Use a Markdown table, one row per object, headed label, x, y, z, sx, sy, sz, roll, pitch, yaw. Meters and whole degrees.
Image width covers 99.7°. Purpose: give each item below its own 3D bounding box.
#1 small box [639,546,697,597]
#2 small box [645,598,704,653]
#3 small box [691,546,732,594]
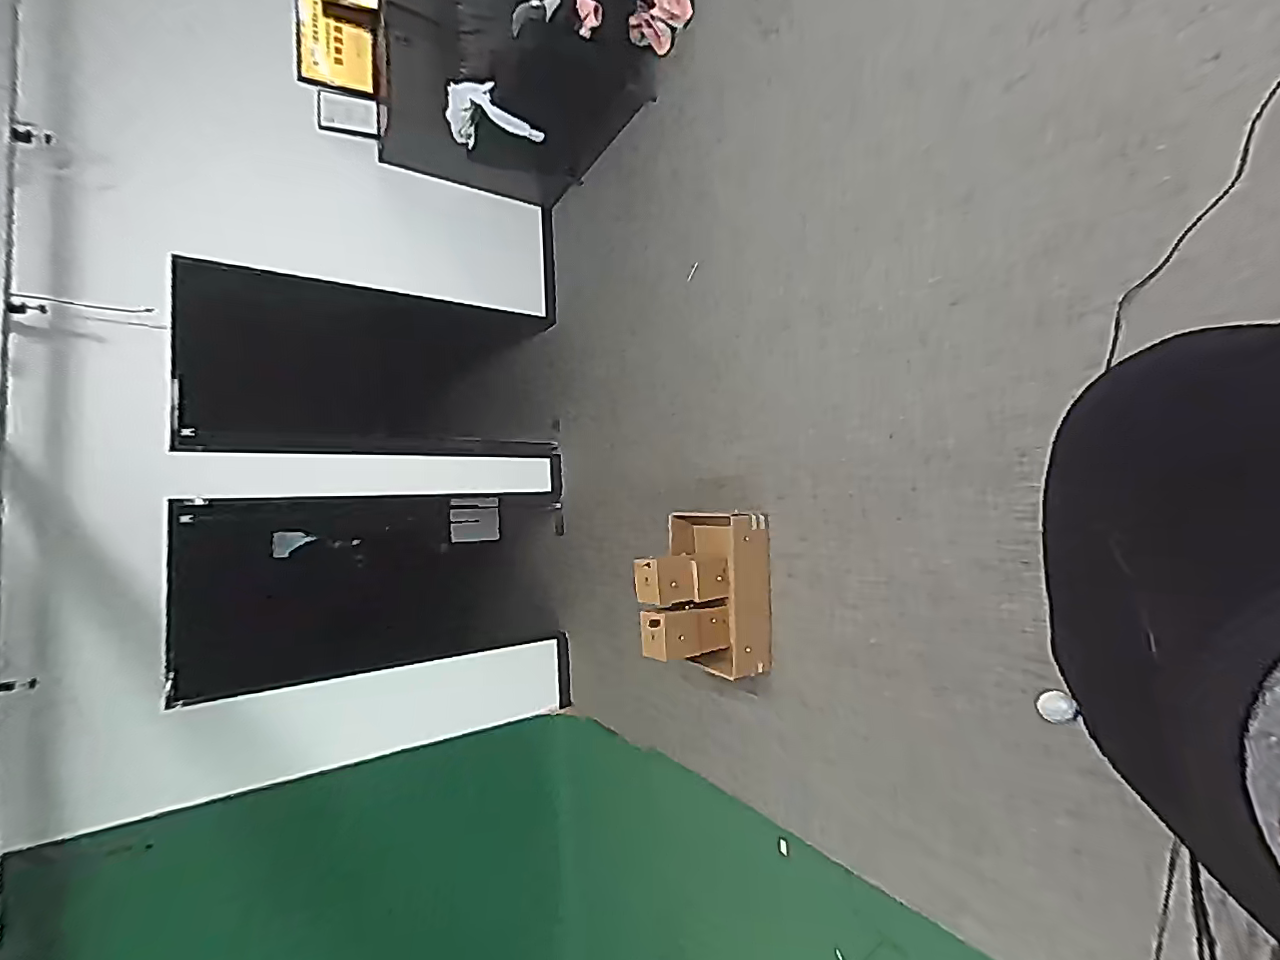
| label | x | y | z | sx | sy | sz | roll | pitch | yaw |
| --- | --- | --- | --- | --- | --- | --- | --- | --- | --- |
| small box | 0.114 | 0.364 | 2.167 | 0.168 | 0.176 | 0.179 | -11 | 83 | 57 |
| small box | 0.136 | 0.568 | 2.137 | 0.168 | 0.176 | 0.179 | -10 | 82 | 56 |
| small box | 0.262 | 0.368 | 2.241 | 0.179 | 0.176 | 0.168 | -3 | 90 | 56 |
